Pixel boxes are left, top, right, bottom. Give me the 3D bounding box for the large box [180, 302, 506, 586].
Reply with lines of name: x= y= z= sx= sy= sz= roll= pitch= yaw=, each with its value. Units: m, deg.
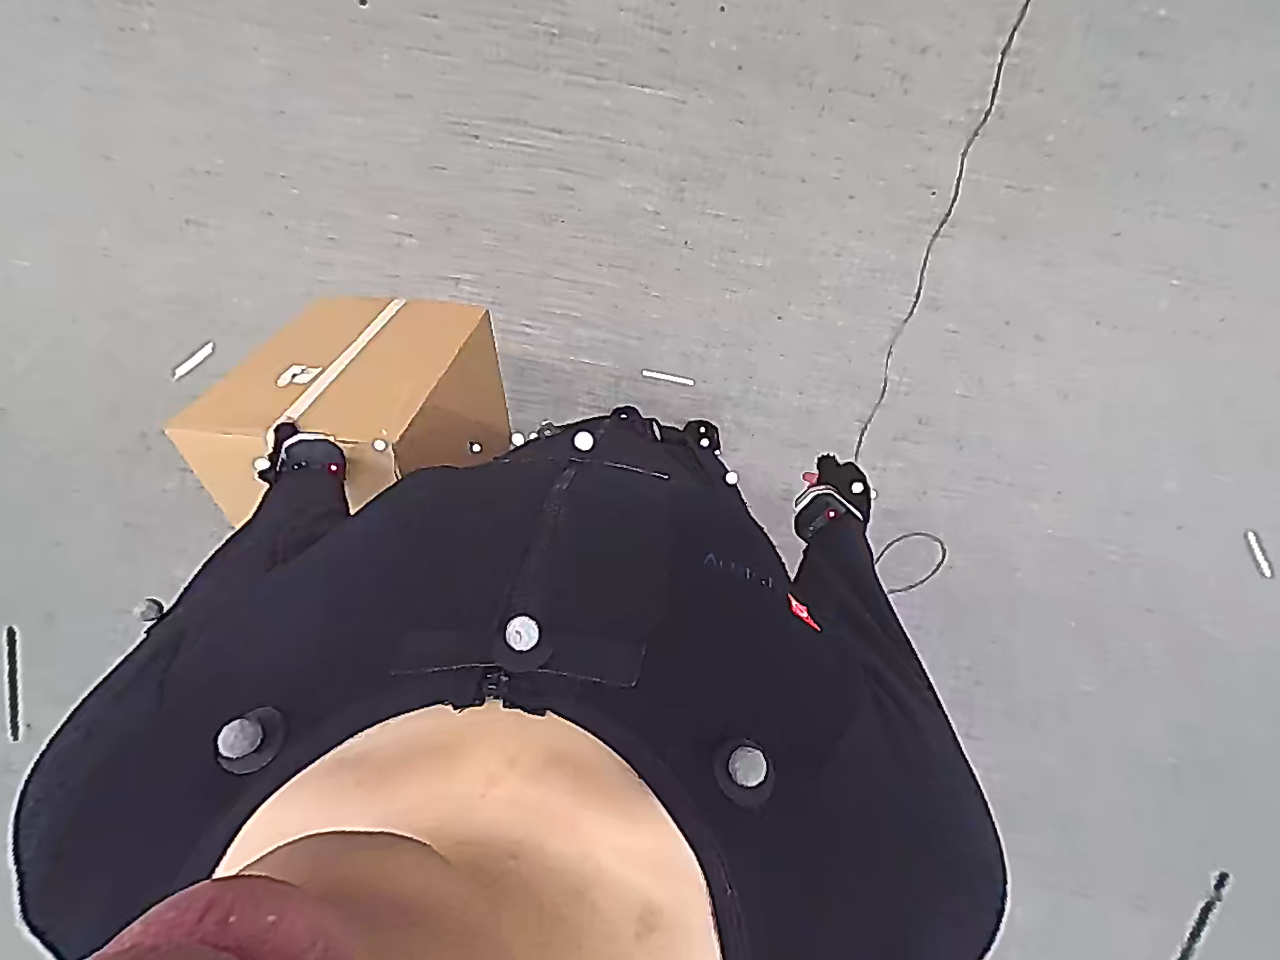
large box: x=-0.454 y=-0.074 z=0.959 sx=0.320 sy=0.408 sz=0.320 roll=4 pitch=134 yaw=4
